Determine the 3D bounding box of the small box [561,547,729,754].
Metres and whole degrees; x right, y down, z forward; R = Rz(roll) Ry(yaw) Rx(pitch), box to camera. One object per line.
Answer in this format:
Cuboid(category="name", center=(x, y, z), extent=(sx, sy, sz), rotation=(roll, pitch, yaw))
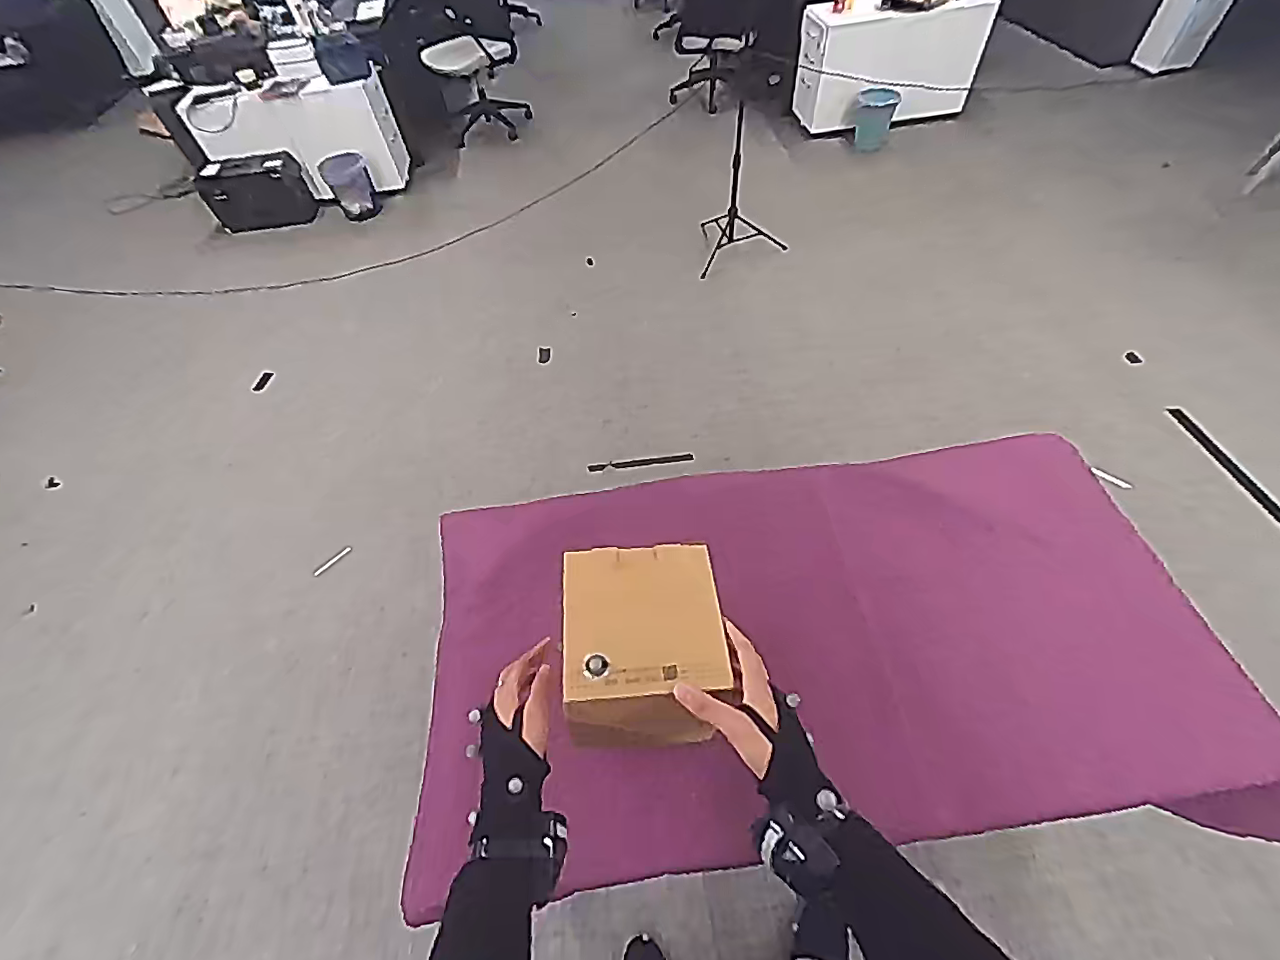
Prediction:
Cuboid(category="small box", center=(-0.003, 0.198, 0.622), extent=(0.168, 0.179, 0.176), rotation=(-2, 49, -5))
